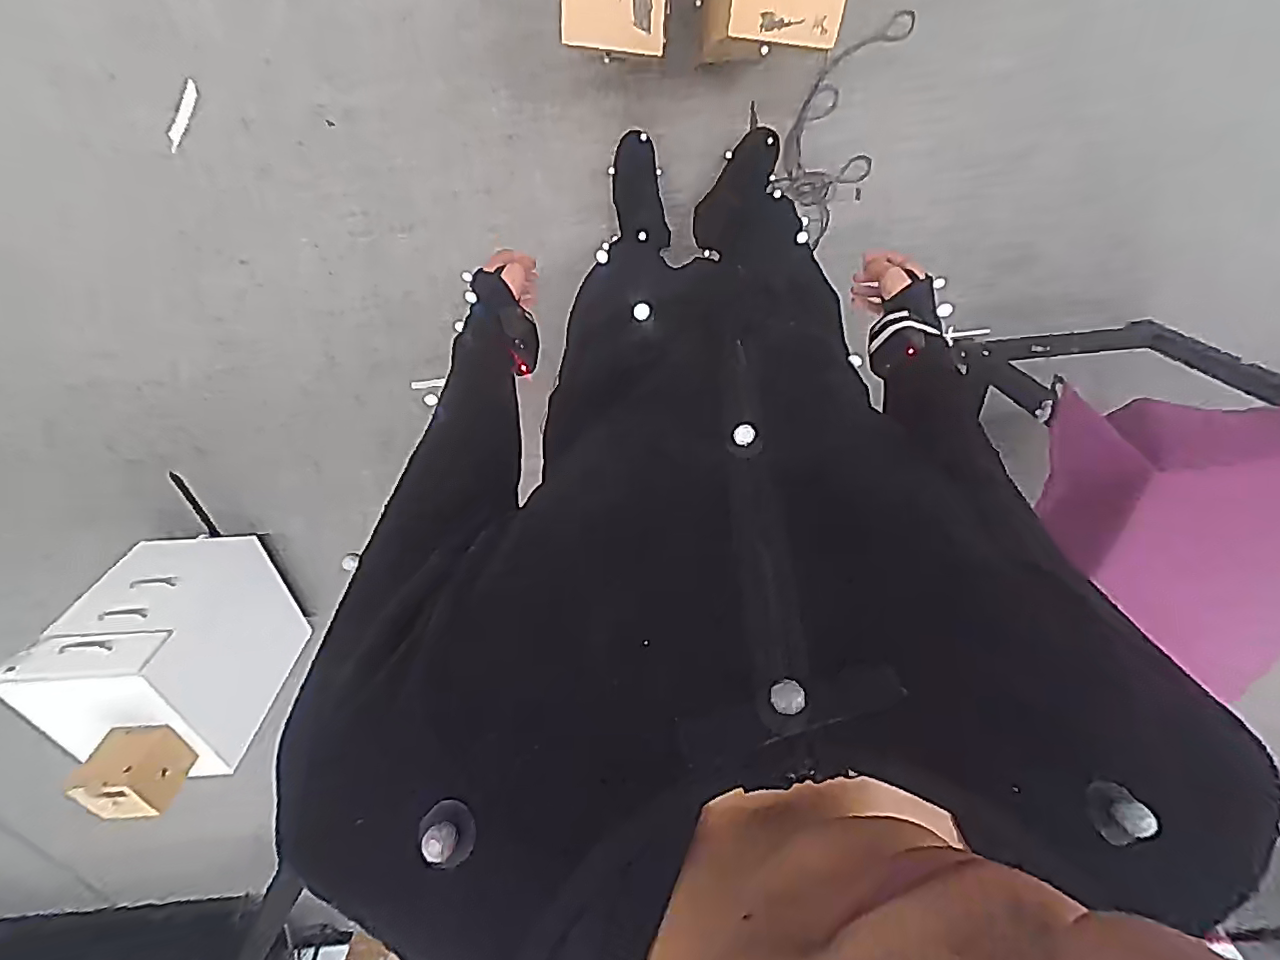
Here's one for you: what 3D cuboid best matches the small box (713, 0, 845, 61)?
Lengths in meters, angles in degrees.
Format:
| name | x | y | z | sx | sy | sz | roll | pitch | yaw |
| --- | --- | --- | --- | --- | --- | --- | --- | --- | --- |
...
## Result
| name | x | y | z | sx | sy | sz | roll | pitch | yaw |
| --- | --- | --- | --- | --- | --- | --- | --- | --- | --- |
| small box | 0.214 | -0.765 | 0.822 | 0.168 | 0.176 | 0.179 | 3 | 124 | -5 |

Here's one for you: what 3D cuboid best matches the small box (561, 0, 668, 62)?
| name | x | y | z | sx | sy | sz | roll | pitch | yaw |
| --- | --- | --- | --- | --- | --- | --- | --- | --- | --- |
| small box | -0.043 | -0.847 | 0.945 | 0.179 | 0.176 | 0.168 | 4 | 124 | -5 |

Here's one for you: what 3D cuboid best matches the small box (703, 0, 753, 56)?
| name | x | y | z | sx | sy | sz | roll | pitch | yaw |
| --- | --- | --- | --- | --- | --- | --- | --- | --- | --- |
| small box | 0.209 | -0.861 | 0.955 | 0.179 | 0.176 | 0.168 | -2 | 125 | -1 |

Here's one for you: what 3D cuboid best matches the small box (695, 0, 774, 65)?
| name | x | y | z | sx | sy | sz | roll | pitch | yaw |
| --- | --- | --- | --- | --- | --- | --- | --- | --- | --- |
| small box | 0.202 | -0.954 | 1.088 | 0.168 | 0.176 | 0.179 | -4 | 125 | 0 |
